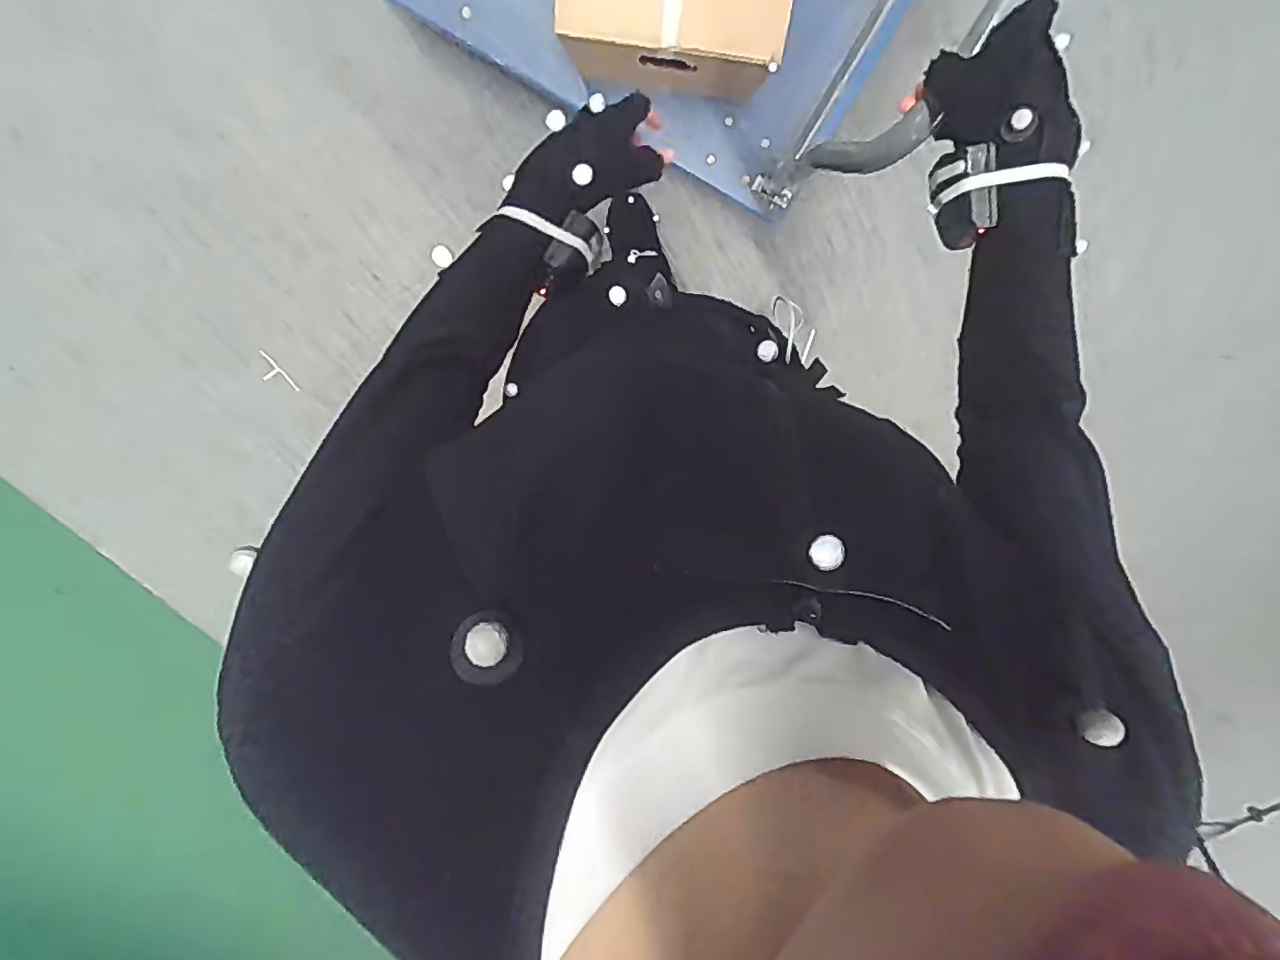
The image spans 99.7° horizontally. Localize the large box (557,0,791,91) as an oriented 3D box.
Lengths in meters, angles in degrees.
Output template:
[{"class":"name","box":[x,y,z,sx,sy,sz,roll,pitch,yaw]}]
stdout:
[{"class":"large box","box":[0.063,-0.838,0.769,0.320,0.320,0.408,7,119,-2]}]
